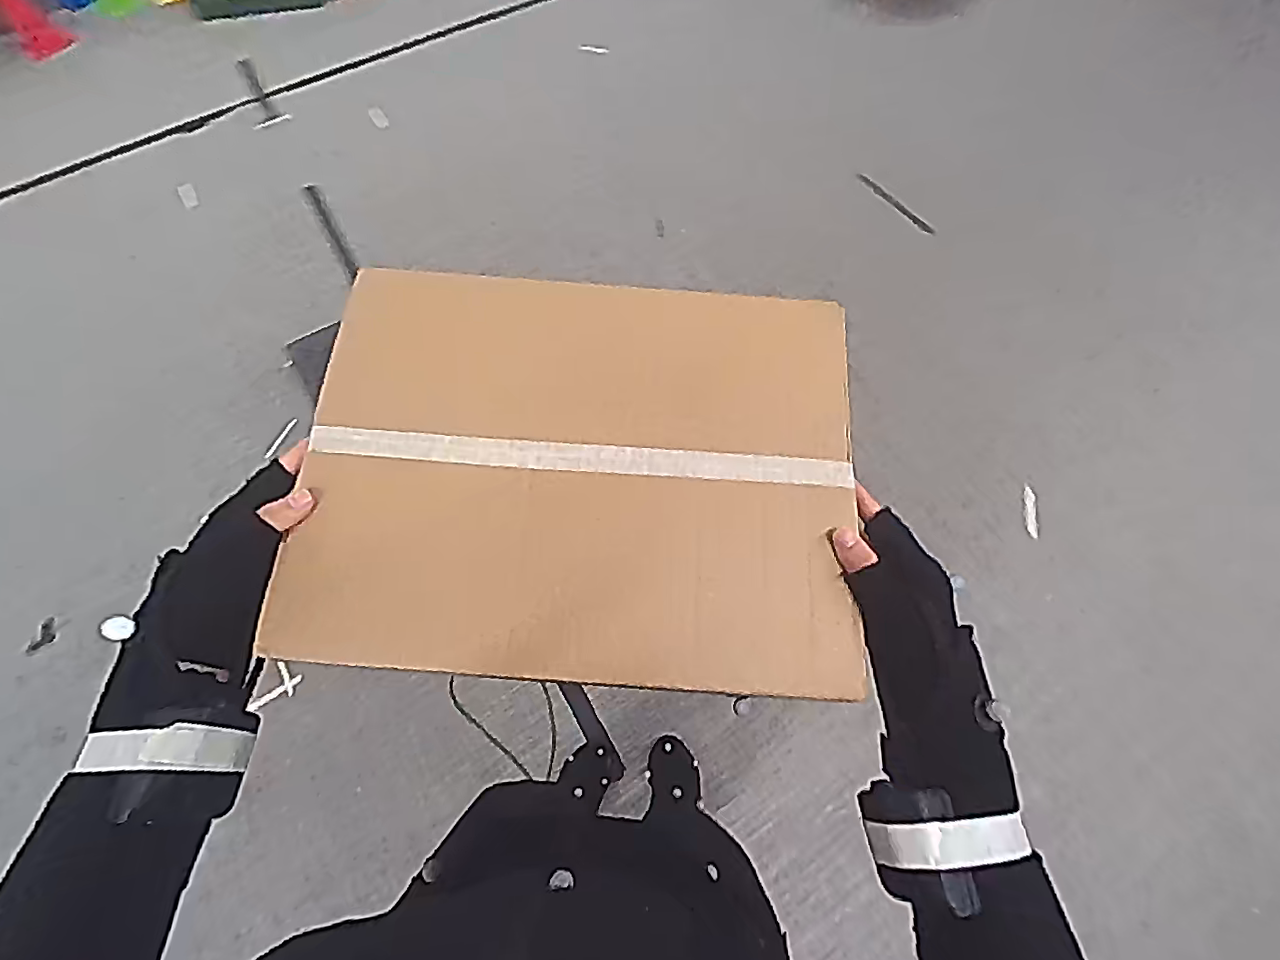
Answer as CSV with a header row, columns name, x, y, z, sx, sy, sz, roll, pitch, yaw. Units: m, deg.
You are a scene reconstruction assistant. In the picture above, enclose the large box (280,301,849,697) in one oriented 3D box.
name,x,y,z,sx,sy,sz,roll,pitch,yaw
large box,-0.048,0.043,0.561,0.408,0.320,0.320,3,70,0
